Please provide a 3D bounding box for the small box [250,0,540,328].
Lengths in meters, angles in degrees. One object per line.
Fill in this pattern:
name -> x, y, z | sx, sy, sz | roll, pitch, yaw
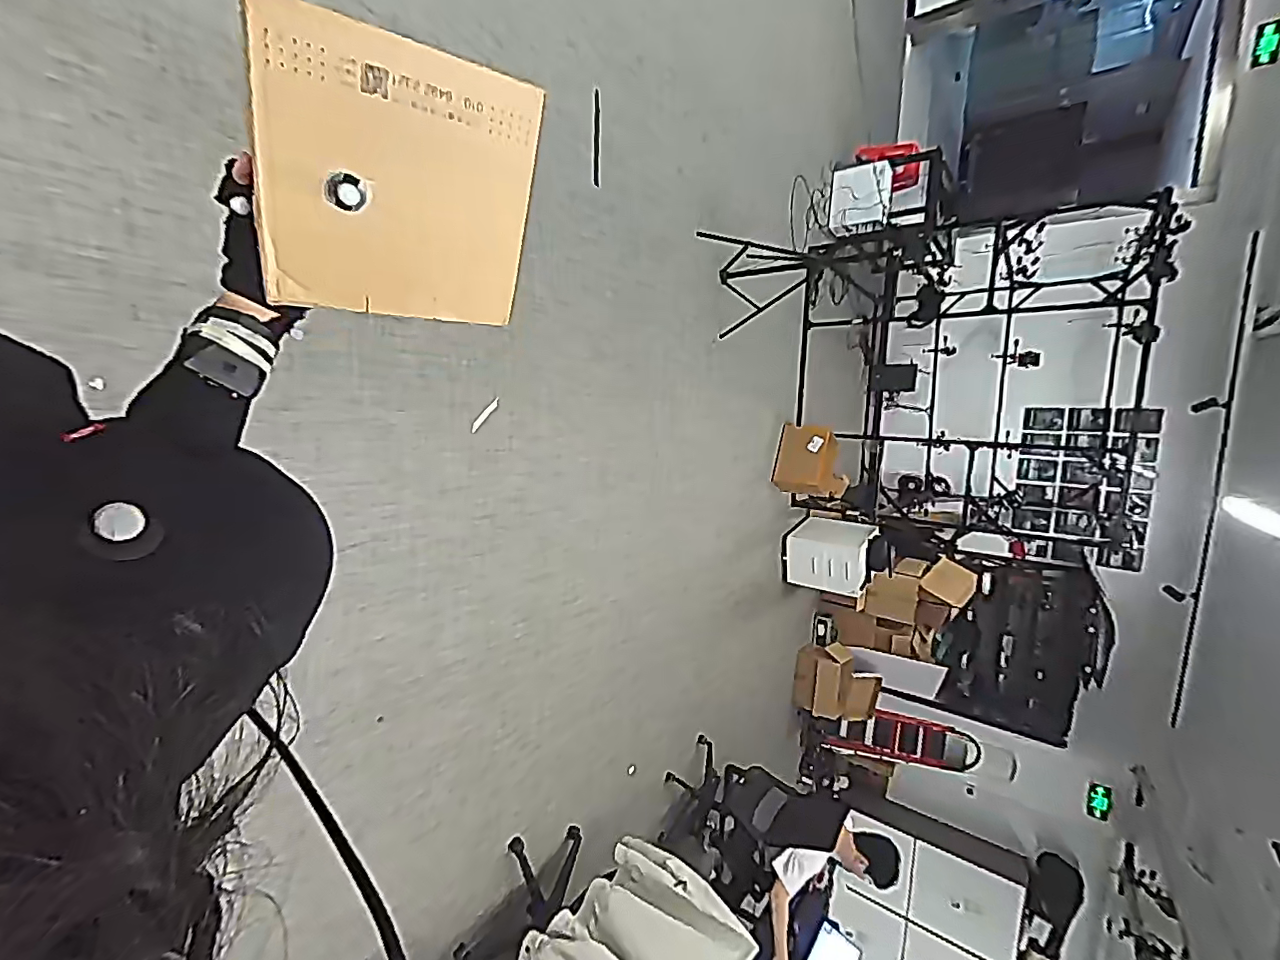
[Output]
small box -> -0.187, -0.232, 0.405 | 0.168, 0.179, 0.176 | -2, 125, -35
